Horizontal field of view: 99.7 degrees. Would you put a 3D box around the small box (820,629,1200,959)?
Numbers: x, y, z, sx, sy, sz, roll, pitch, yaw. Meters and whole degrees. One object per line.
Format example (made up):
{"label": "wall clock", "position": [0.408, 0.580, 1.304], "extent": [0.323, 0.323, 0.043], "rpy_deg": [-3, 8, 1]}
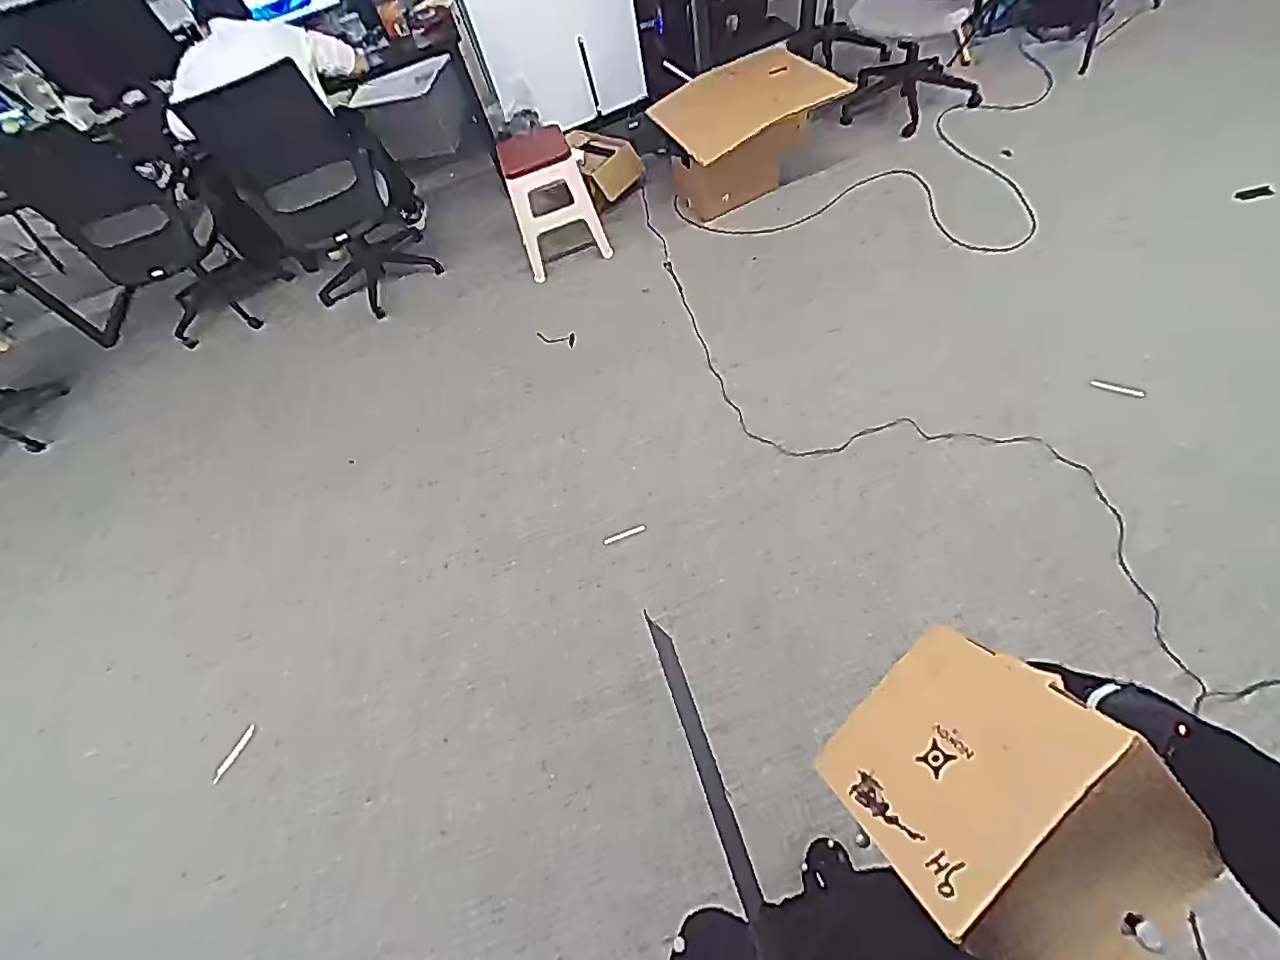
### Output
{"label": "small box", "position": [0.296, 0.267, 0.446], "extent": [0.179, 0.176, 0.168], "rpy_deg": [-46, 16, -2]}
